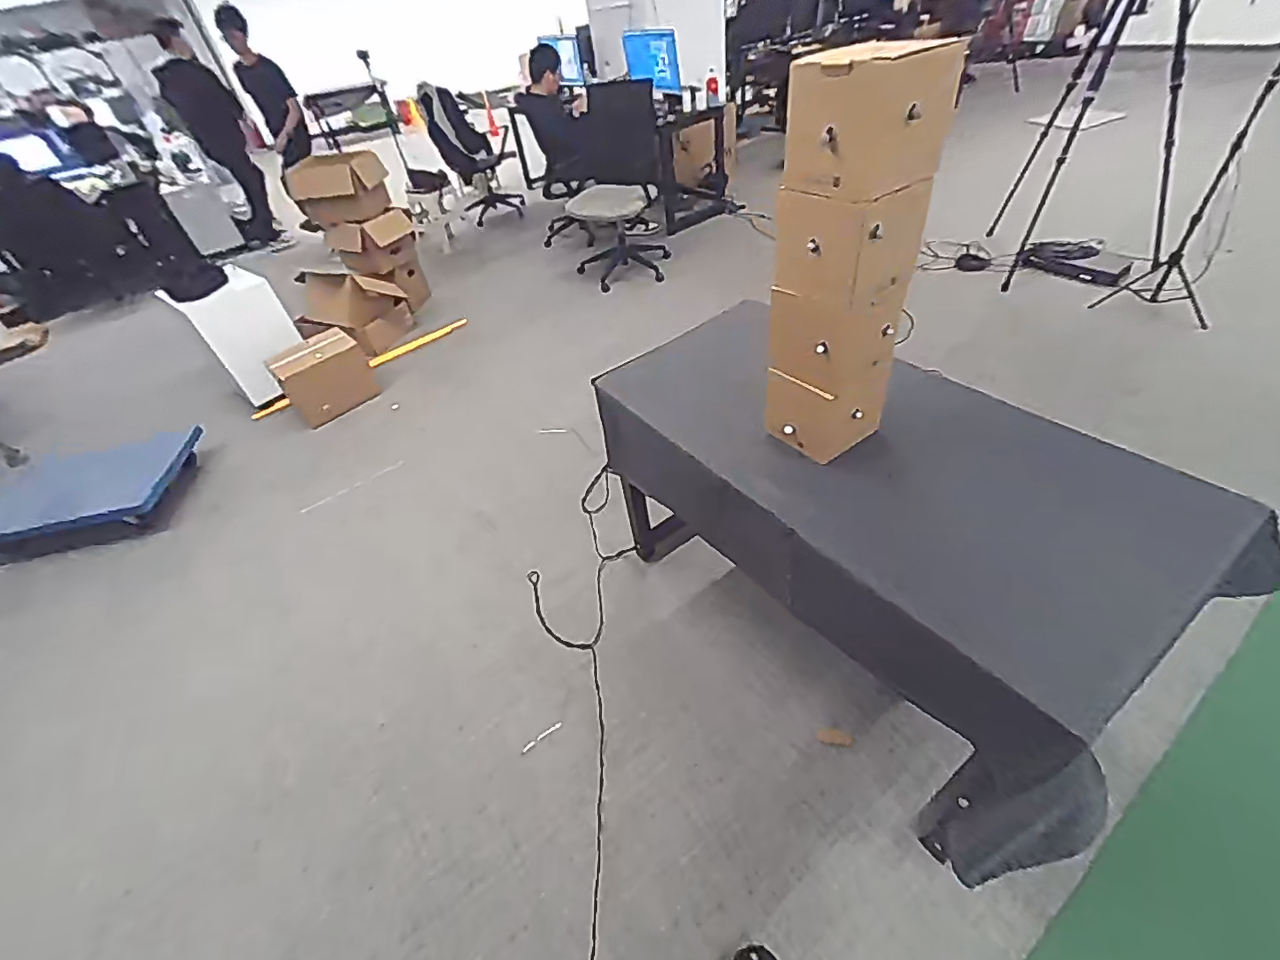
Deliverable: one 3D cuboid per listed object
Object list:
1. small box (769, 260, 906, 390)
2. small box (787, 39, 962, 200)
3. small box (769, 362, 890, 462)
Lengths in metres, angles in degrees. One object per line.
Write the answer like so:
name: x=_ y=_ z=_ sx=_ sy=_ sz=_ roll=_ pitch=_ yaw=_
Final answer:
small box: x=0.365 y=-0.292 z=1.028 sx=0.168 sy=0.176 sz=0.179 roll=-31 pitch=46 yaw=-23
small box: x=0.342 y=-0.542 z=0.818 sx=0.179 sy=0.176 sz=0.168 roll=-31 pitch=46 yaw=-22
small box: x=0.385 y=-0.170 z=1.134 sx=0.179 sy=0.176 sz=0.168 roll=-30 pitch=46 yaw=-20
